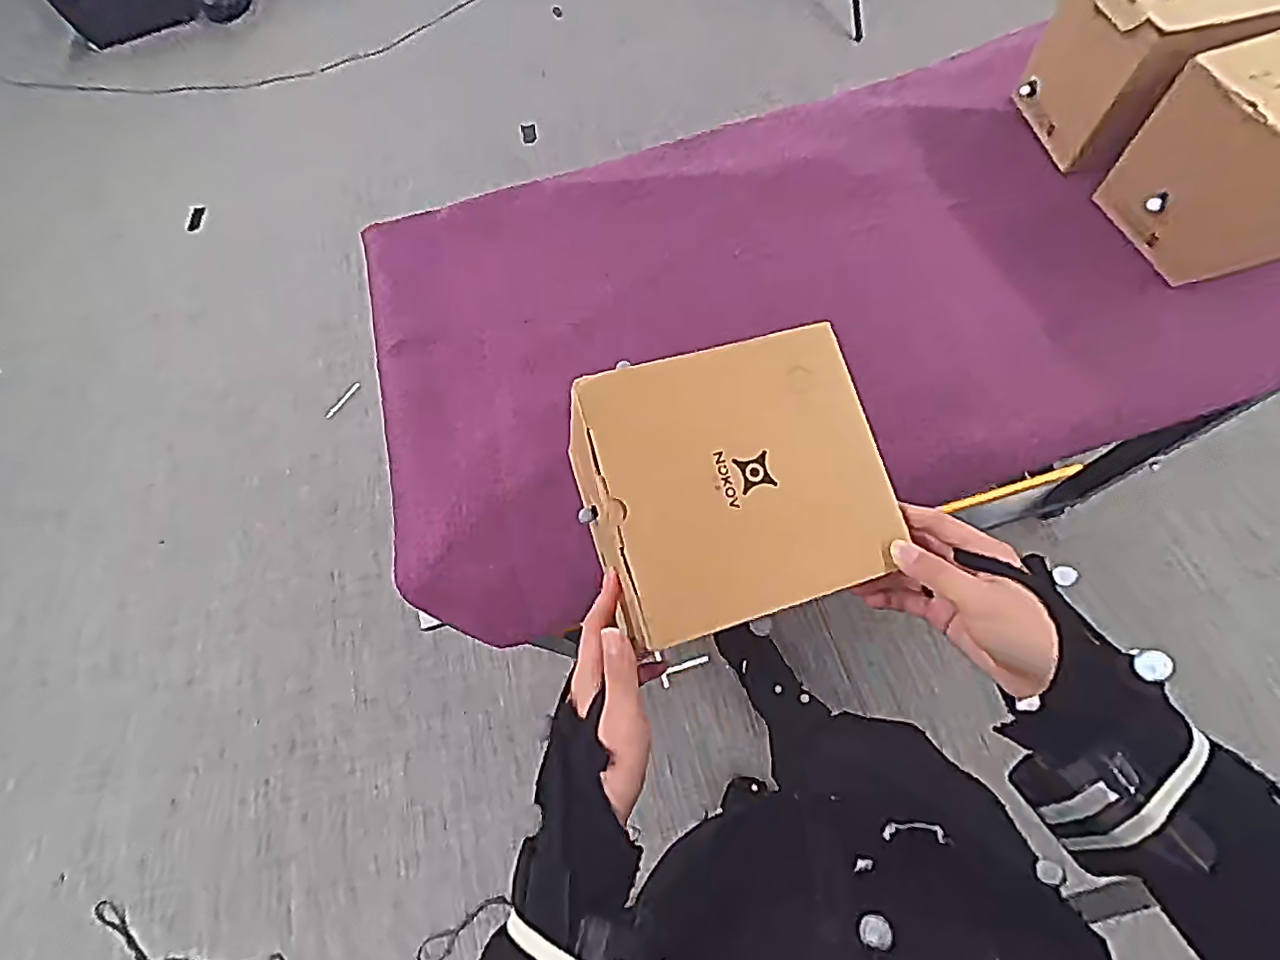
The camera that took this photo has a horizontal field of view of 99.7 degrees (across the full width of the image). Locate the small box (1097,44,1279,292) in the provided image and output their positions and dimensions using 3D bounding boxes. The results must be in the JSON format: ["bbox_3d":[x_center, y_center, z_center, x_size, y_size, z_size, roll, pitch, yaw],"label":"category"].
[{"bbox_3d":[0.681,-0.343,0.600,0.179,0.176,0.168,-16,65,1],"label":"small box"}]

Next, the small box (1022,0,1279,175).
[{"bbox_3d":[0.627,-0.519,0.680,0.179,0.176,0.168,-11,68,1],"label":"small box"}]

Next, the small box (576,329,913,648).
[{"bbox_3d":[0.055,0.012,0.408,0.179,0.176,0.168,-15,81,-10],"label":"small box"}]
